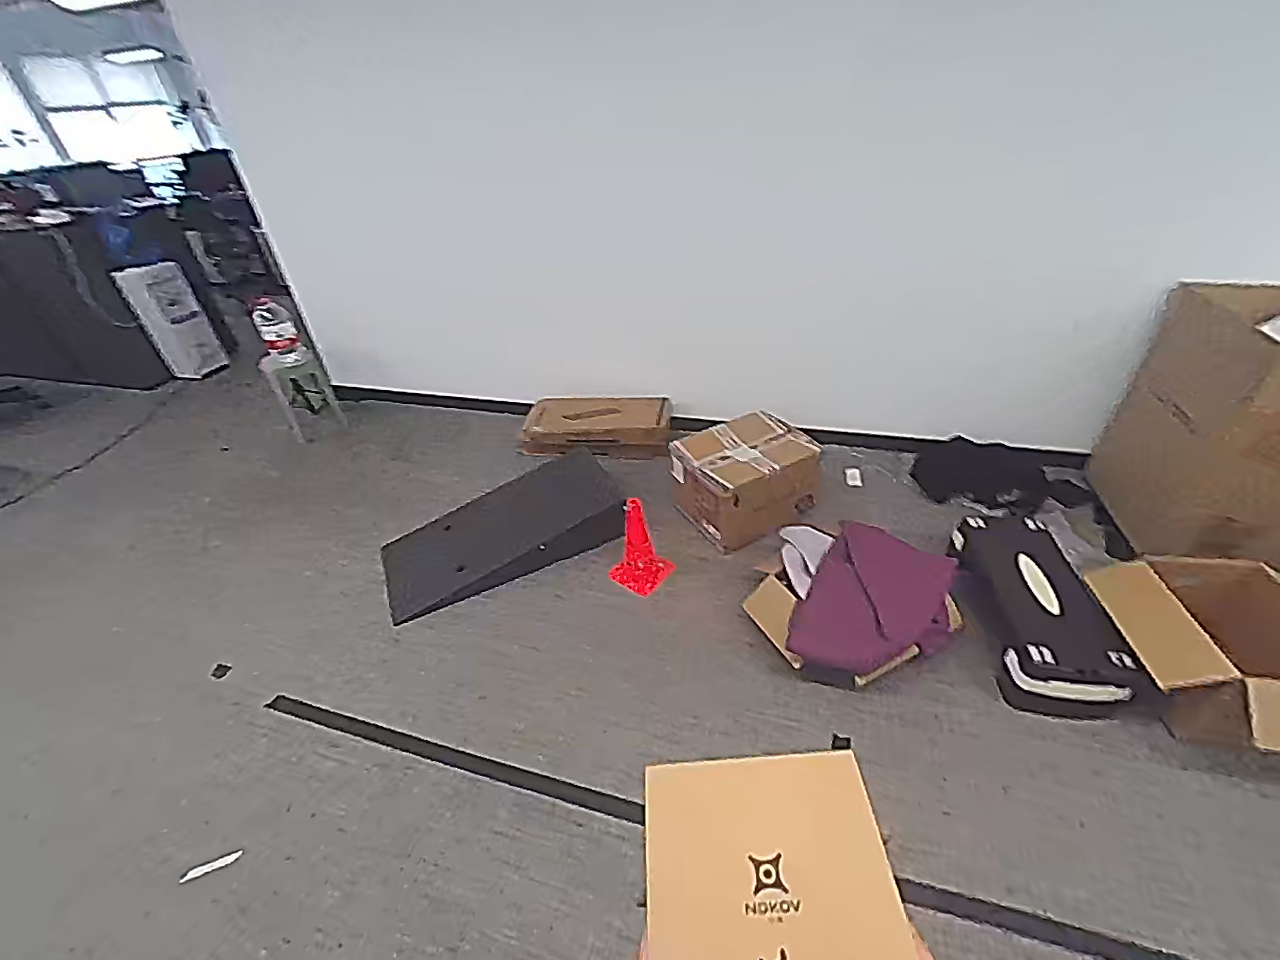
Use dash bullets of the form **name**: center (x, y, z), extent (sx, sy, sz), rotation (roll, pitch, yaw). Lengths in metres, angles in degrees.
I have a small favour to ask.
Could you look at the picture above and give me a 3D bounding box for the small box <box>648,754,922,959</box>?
- **small box**: center (0.097, 0.336, 0.403), extent (0.168, 0.176, 0.179), rotation (-8, 37, 5)
